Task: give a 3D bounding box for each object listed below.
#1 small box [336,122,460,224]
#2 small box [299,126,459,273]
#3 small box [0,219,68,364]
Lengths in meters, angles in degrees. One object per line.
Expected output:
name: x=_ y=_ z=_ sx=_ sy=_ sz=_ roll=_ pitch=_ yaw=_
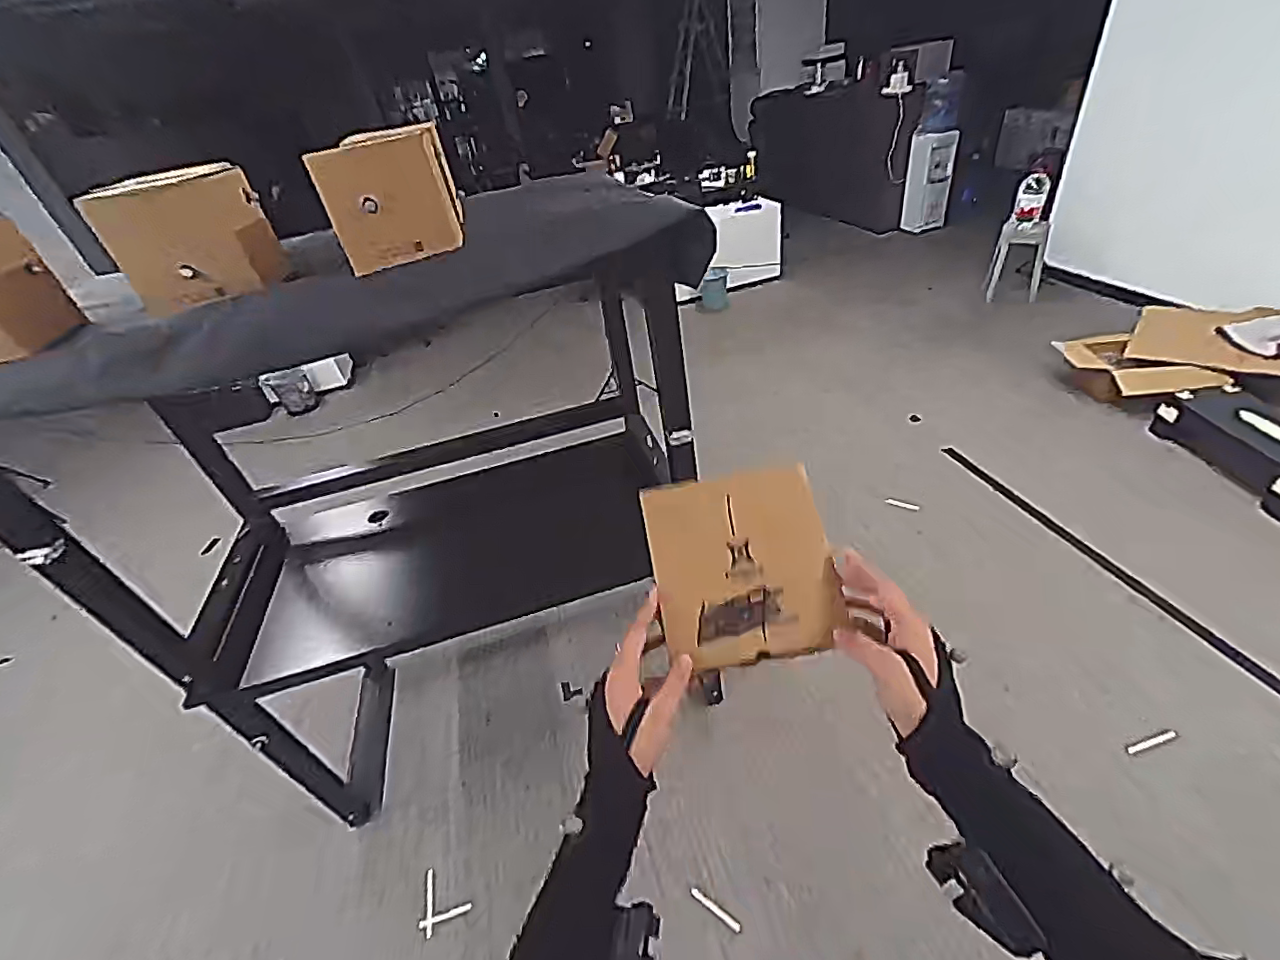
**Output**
small box: x=-0.463 y=-0.591 z=1.064 sx=0.168 sy=0.176 sz=0.179 roll=-17 pitch=37 yaw=-8
small box: x=-0.391 y=-0.436 z=0.845 sx=0.168 sy=0.176 sz=0.179 roll=-17 pitch=35 yaw=-8
small box: x=-0.967 y=-0.253 z=0.744 sx=0.168 sy=0.176 sz=0.179 roll=-18 pitch=37 yaw=-9
